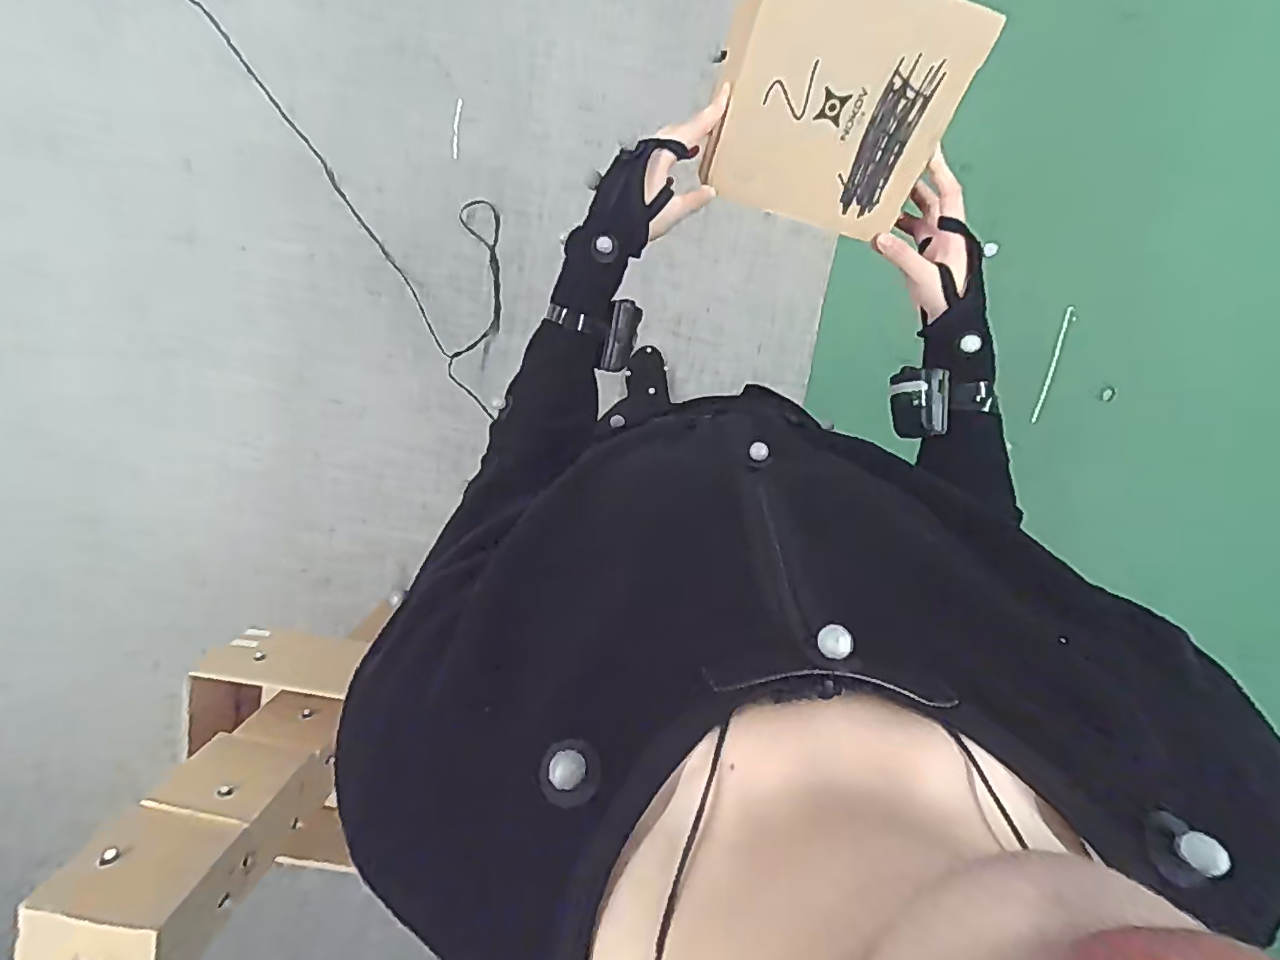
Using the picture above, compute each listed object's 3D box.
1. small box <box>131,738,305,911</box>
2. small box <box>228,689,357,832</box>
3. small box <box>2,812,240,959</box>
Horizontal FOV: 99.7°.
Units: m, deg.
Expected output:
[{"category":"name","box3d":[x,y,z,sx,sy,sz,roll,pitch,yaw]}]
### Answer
[{"category":"small box","box3d":[-0.711,0.573,0.921,0.179,0.176,0.168,15,99,-2]},{"category":"small box","box3d":[-0.698,0.551,1.083,0.168,0.176,0.179,16,100,-2]},{"category":"small box","box3d":[-0.719,0.608,0.761,0.179,0.176,0.168,14,100,-3]}]
